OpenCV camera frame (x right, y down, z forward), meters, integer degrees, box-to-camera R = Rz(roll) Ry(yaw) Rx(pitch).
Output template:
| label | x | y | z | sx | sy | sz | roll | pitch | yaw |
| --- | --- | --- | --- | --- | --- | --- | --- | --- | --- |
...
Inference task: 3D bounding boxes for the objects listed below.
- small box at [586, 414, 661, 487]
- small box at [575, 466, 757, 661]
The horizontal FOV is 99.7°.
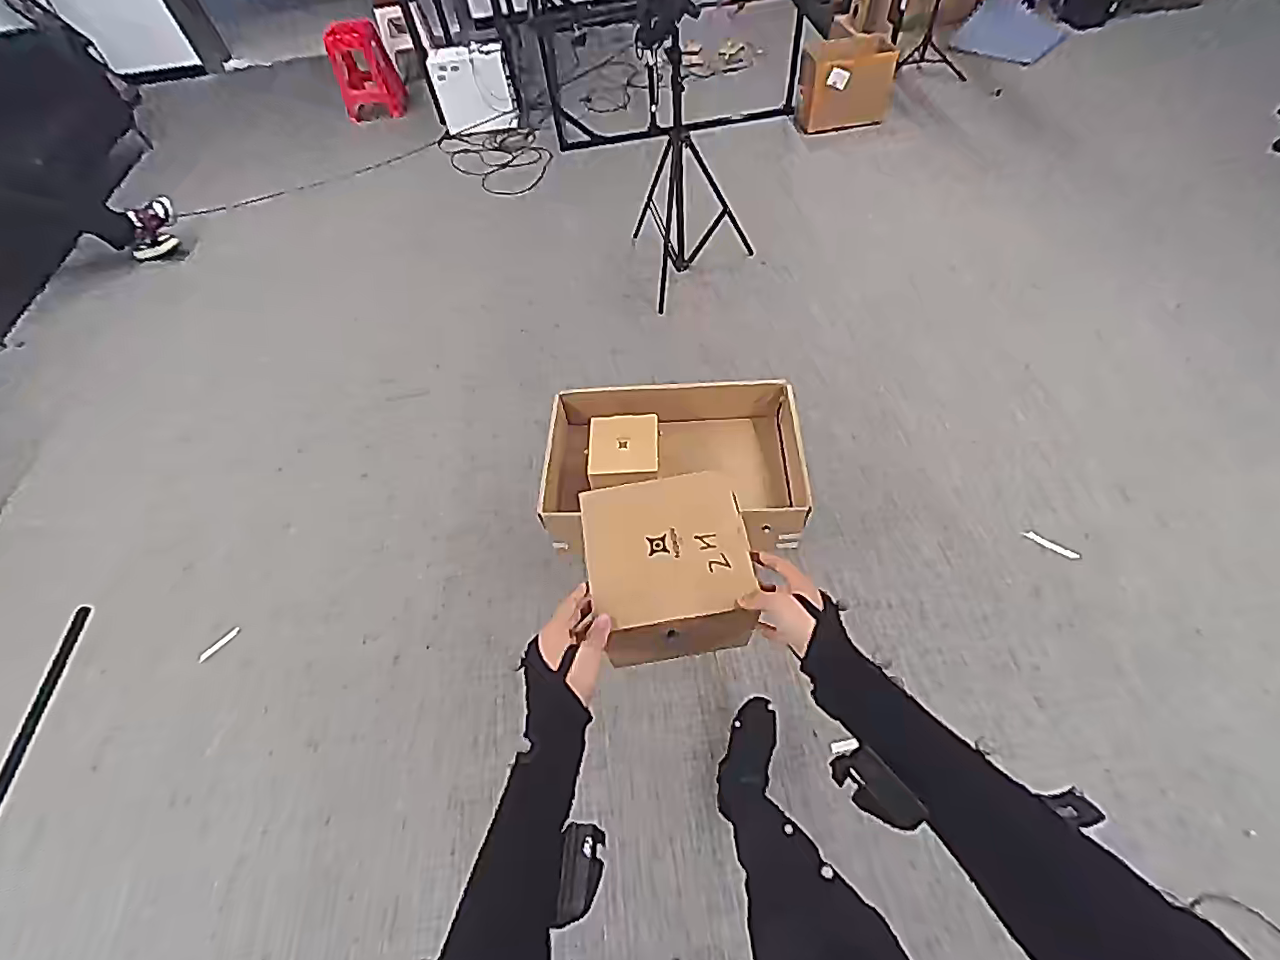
| label | x | y | z | sx | sy | sz | roll | pitch | yaw |
| --- | --- | --- | --- | --- | --- | --- | --- | --- | --- |
| small box | -0.034 | -0.040 | 1.341 | 0.168 | 0.176 | 0.179 | -3 | 55 | 4 |
| small box | 0.028 | 0.107 | 0.645 | 0.179 | 0.176 | 0.168 | -9 | 60 | -1 |
